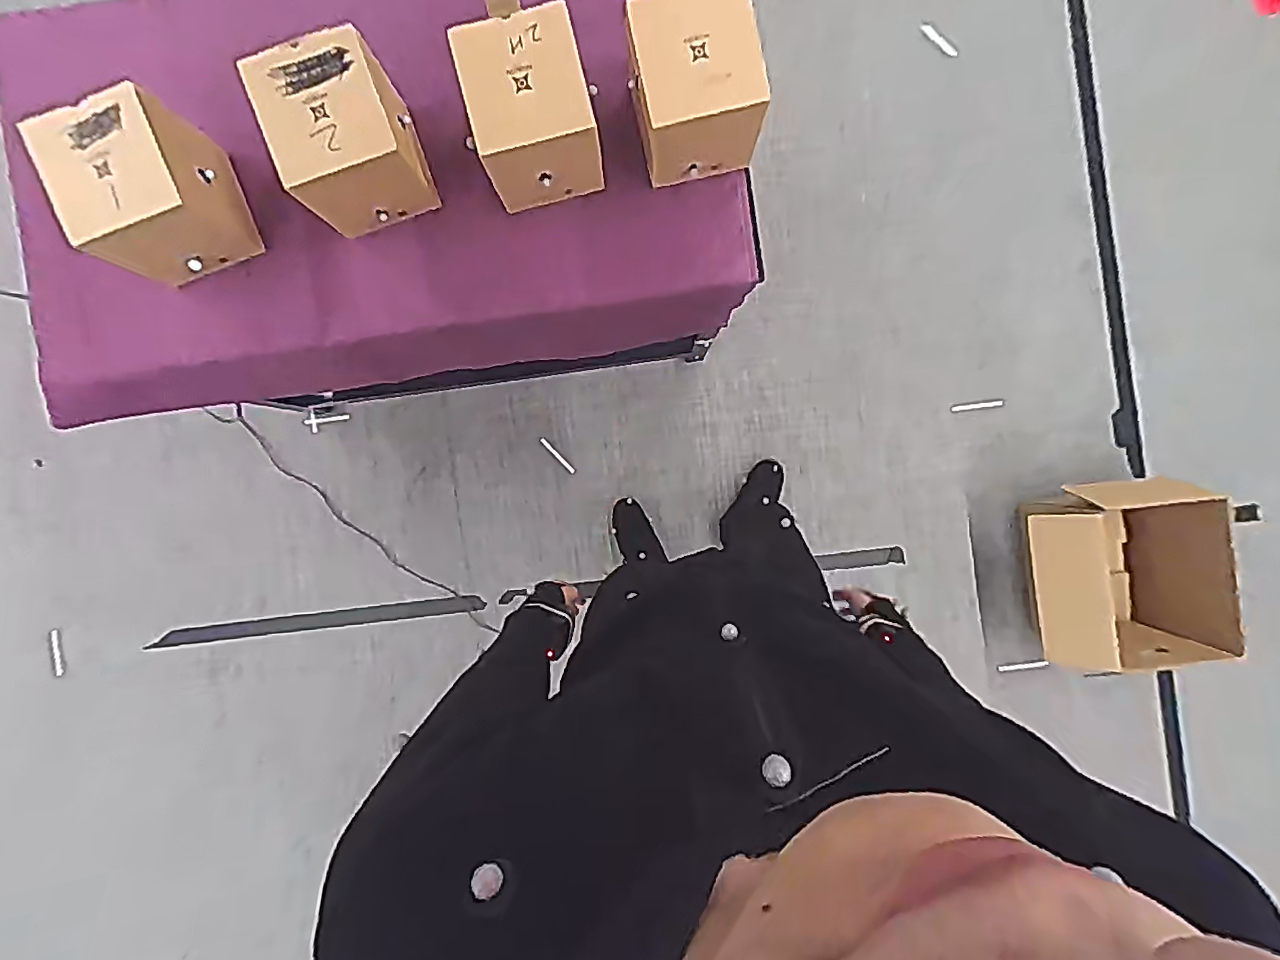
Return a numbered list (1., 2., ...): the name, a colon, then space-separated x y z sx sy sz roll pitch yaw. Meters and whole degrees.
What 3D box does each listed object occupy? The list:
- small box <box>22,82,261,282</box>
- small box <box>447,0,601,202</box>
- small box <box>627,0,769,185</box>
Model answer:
1. small box: -0.721 -0.427 0.804 0.168 0.176 0.179 -21 92 1
2. small box: -0.159 -0.540 0.801 0.168 0.176 0.179 -14 91 0
3. small box: 0.078 -0.578 0.800 0.168 0.176 0.179 -12 91 2
